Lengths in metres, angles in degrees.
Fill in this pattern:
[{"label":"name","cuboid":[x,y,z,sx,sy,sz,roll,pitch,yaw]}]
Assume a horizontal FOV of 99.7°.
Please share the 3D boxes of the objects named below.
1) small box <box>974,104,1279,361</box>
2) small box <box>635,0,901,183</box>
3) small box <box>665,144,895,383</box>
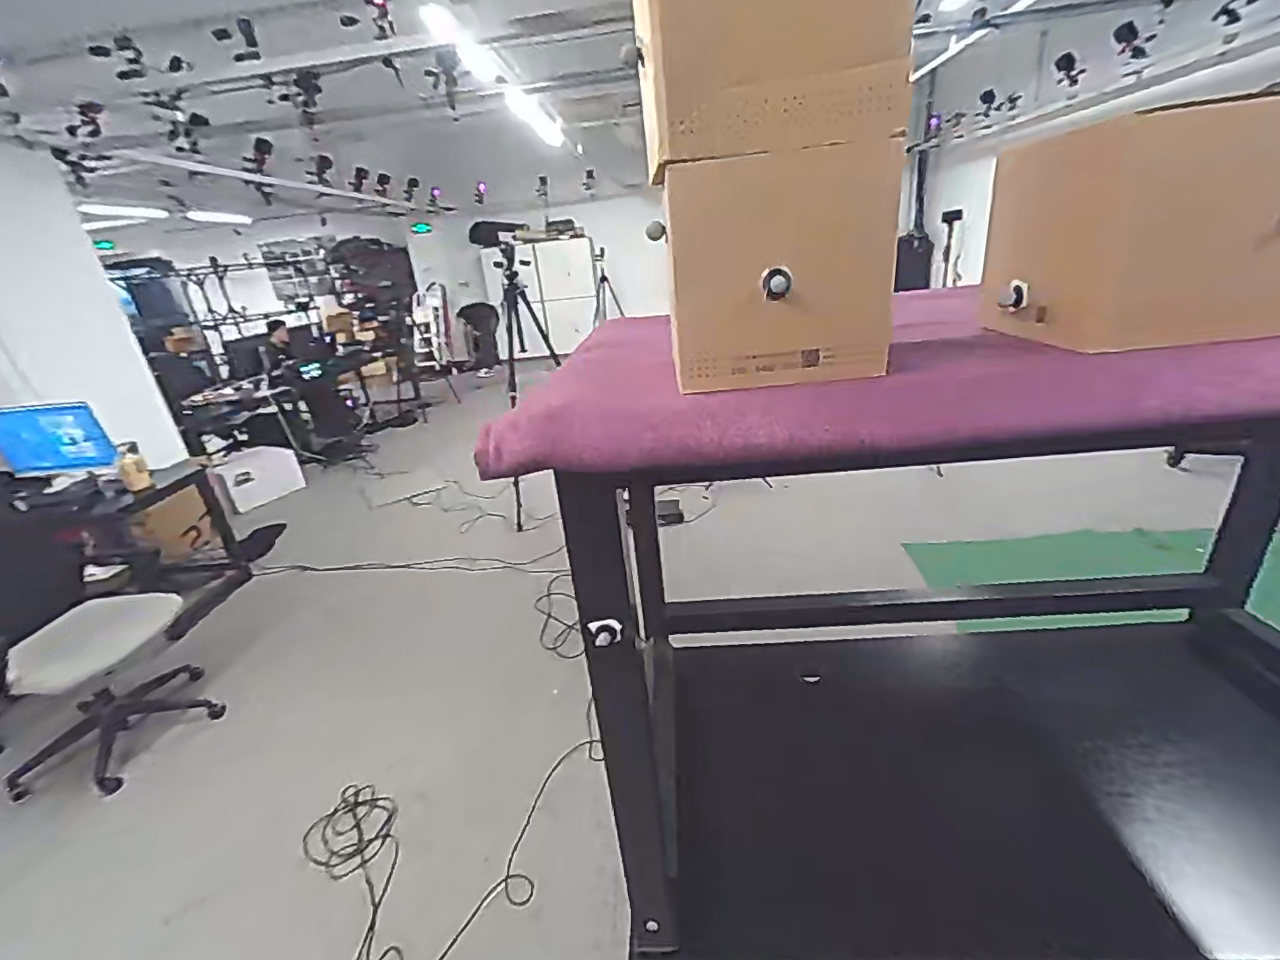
[{"label":"small box","cuboid":[0.430,-0.209,0.476,0.179,0.176,0.168,-5,22,4]},{"label":"small box","cuboid":[0.090,-0.334,0.427,0.179,0.176,0.168,-5,23,1]},{"label":"small box","cuboid":[0.110,-0.186,0.491,0.168,0.176,0.179,-3,23,3]}]
